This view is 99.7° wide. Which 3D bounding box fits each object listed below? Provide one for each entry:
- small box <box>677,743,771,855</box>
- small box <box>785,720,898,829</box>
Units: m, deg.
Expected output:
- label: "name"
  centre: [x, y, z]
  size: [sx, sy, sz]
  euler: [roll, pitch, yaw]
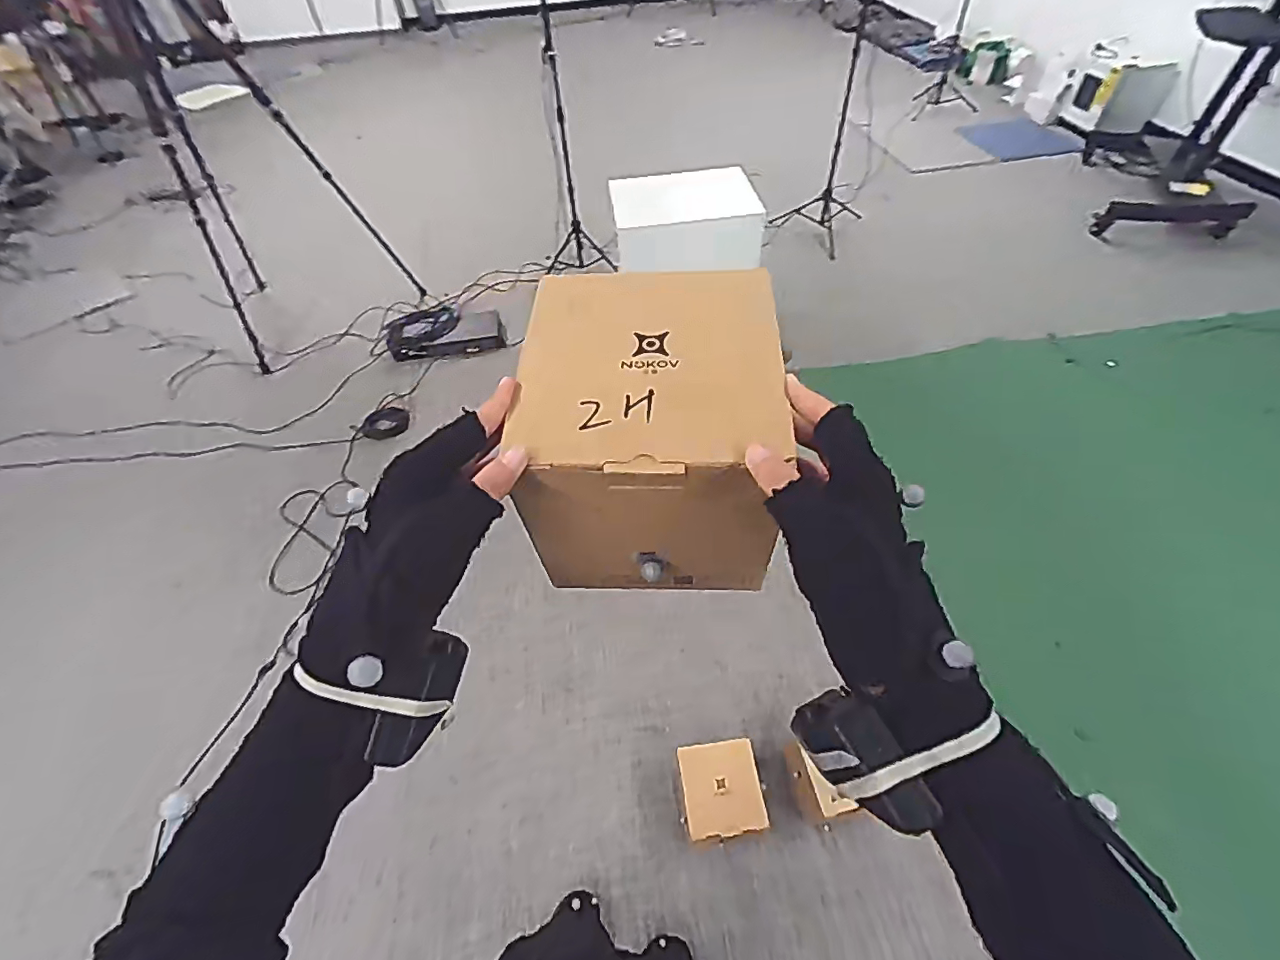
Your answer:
- label: "small box"
  centre: [0.177, 0.707, 1.198]
  size: [0.168, 0.176, 0.179]
  euler: [-8, 51, -3]
- label: "small box"
  centre: [0.442, 0.667, 1.215]
  size: [0.168, 0.176, 0.179]
  euler: [-10, 50, -5]
